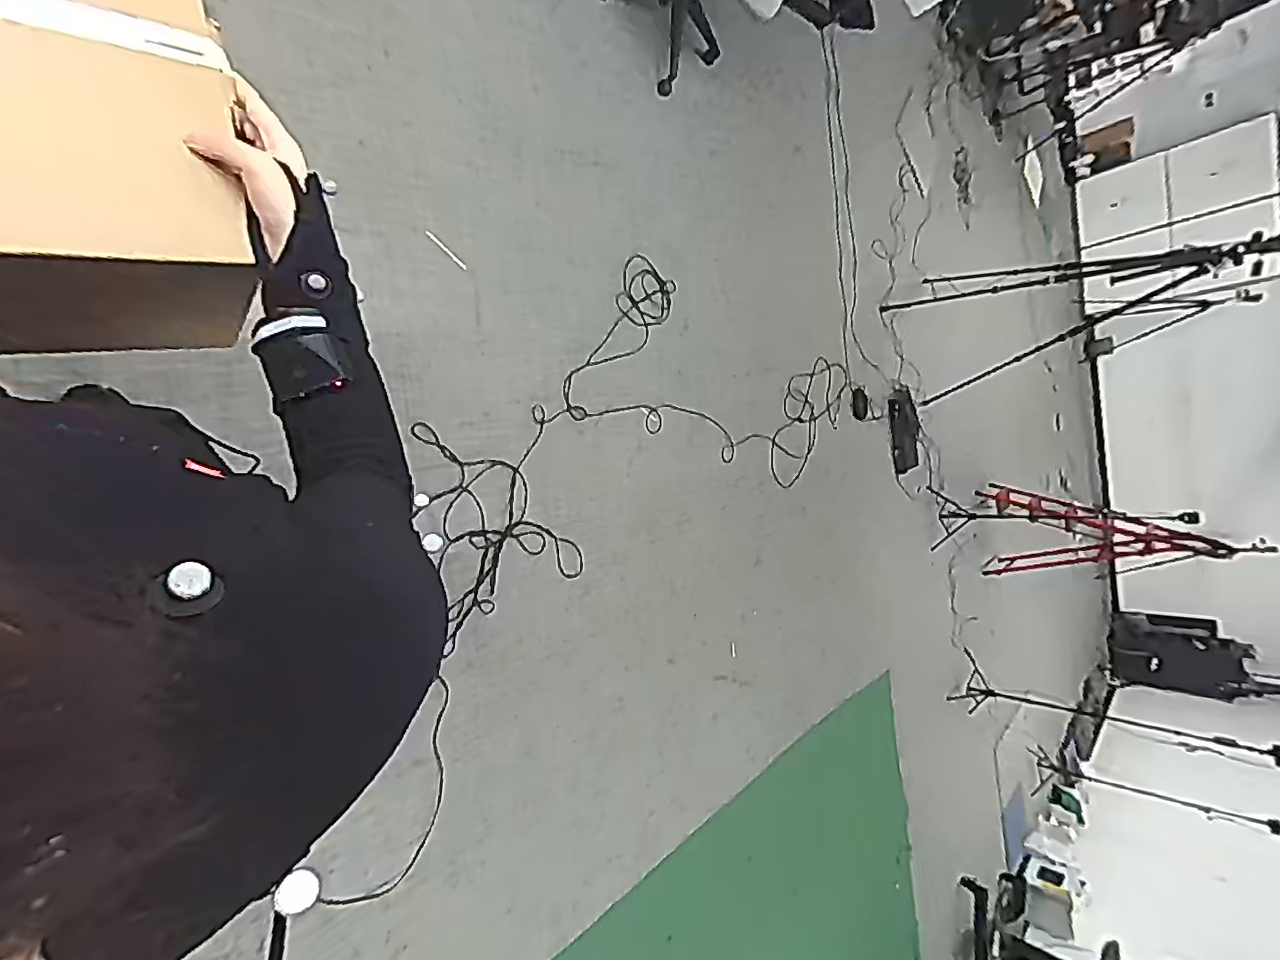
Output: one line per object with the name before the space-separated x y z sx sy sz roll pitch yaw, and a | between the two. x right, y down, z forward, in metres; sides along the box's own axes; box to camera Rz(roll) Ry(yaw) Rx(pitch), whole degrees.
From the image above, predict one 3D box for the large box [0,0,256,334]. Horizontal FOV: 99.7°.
large box | -0.582 -0.294 0.414 0.408 0.320 0.320 -16 99 -39
